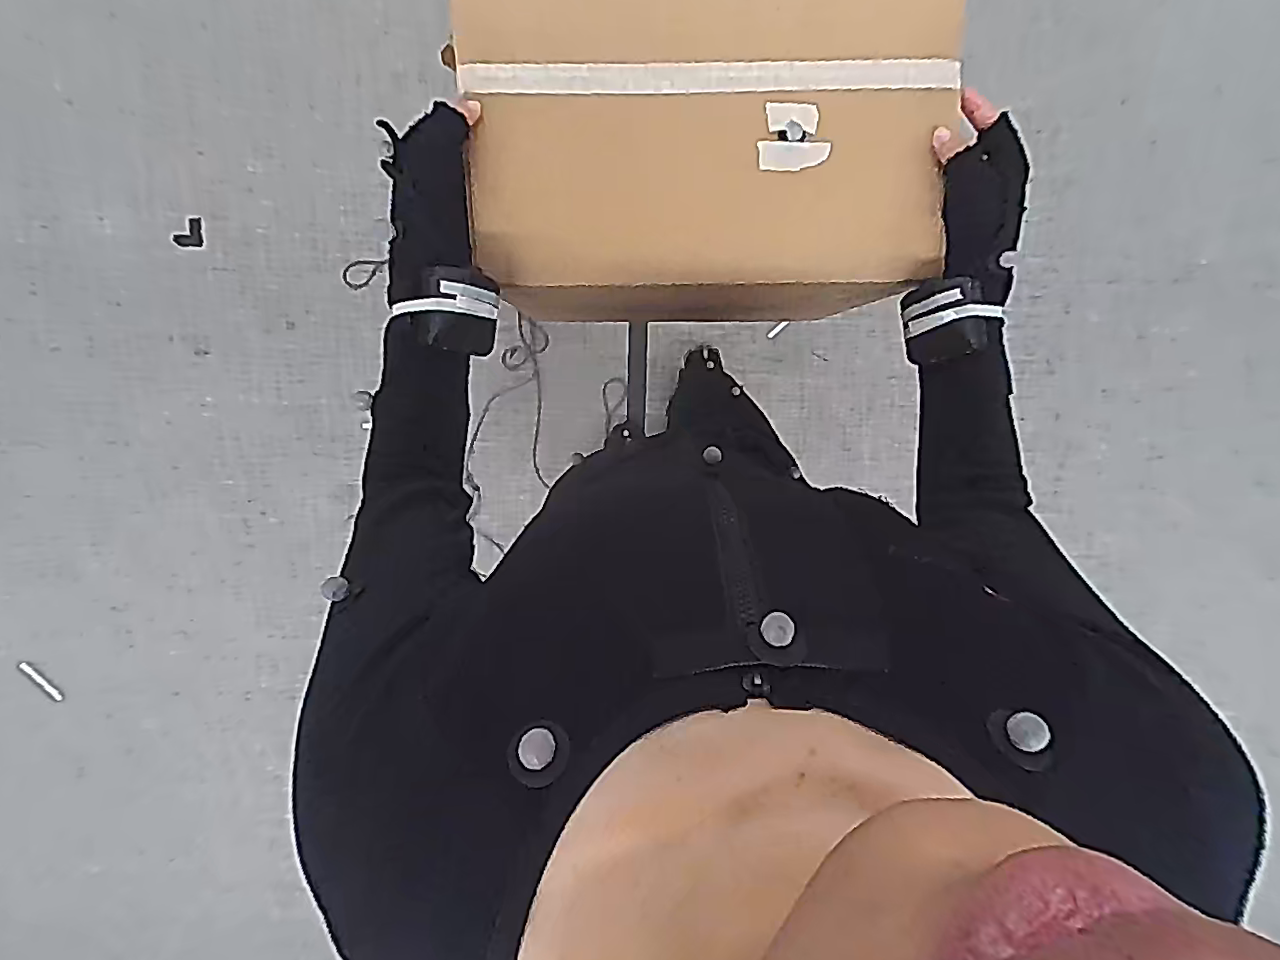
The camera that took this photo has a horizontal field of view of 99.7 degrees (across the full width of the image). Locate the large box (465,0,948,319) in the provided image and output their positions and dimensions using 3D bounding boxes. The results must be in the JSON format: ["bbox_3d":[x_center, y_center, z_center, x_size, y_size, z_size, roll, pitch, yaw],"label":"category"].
[{"bbox_3d":[0.052,-0.360,0.601,0.408,0.320,0.320,-1,101,-1],"label":"large box"}]
